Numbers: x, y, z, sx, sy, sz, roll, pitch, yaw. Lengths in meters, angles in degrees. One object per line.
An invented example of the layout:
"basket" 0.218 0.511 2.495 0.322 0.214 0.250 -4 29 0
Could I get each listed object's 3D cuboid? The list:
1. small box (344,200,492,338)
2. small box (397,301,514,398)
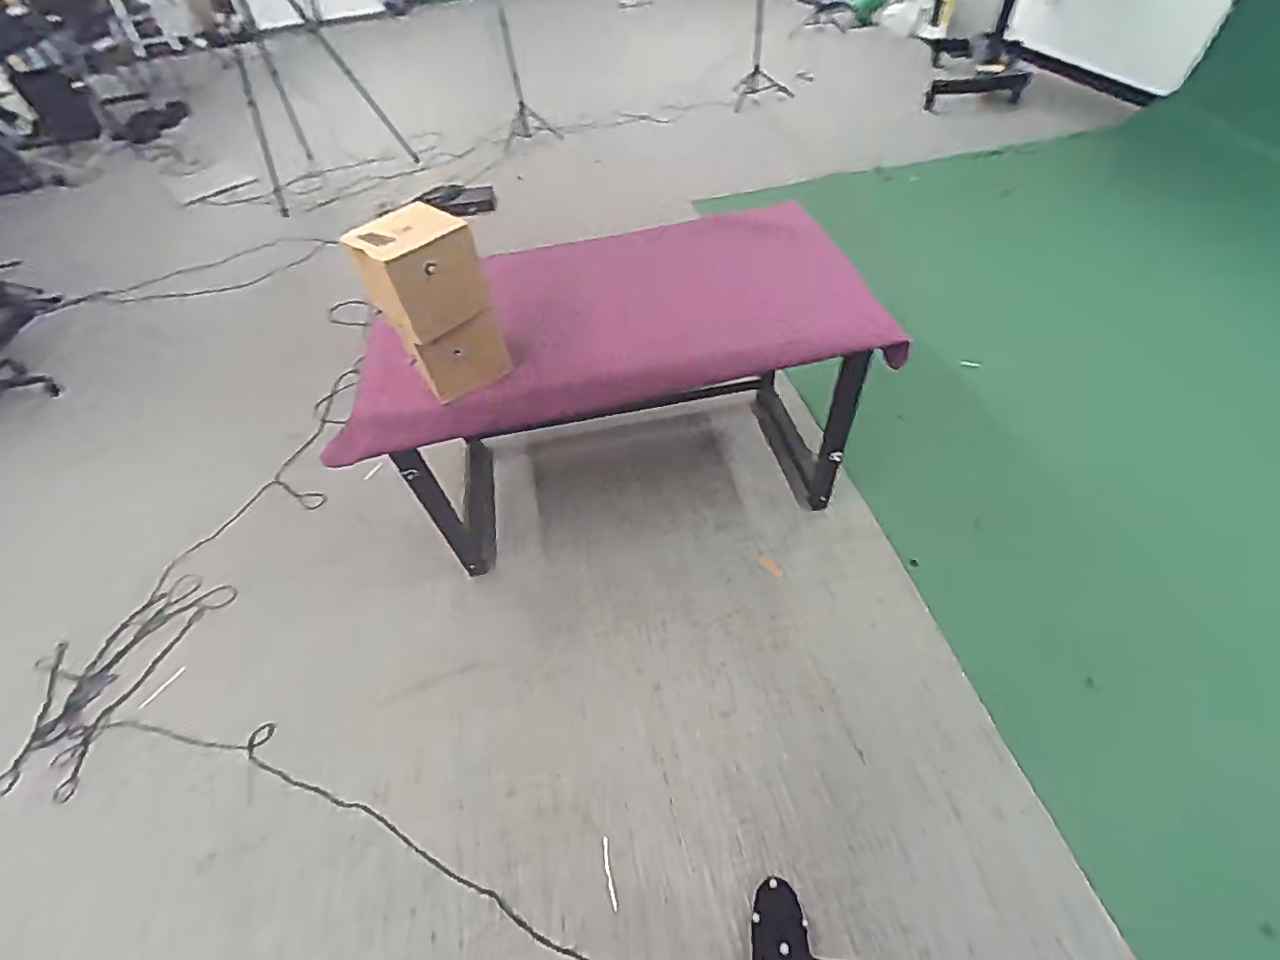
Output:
"small box" -0.411 -0.400 1.030 0.168 0.176 0.179 34 60 29
"small box" -0.398 -0.308 1.167 0.179 0.176 0.168 -31 54 -18
